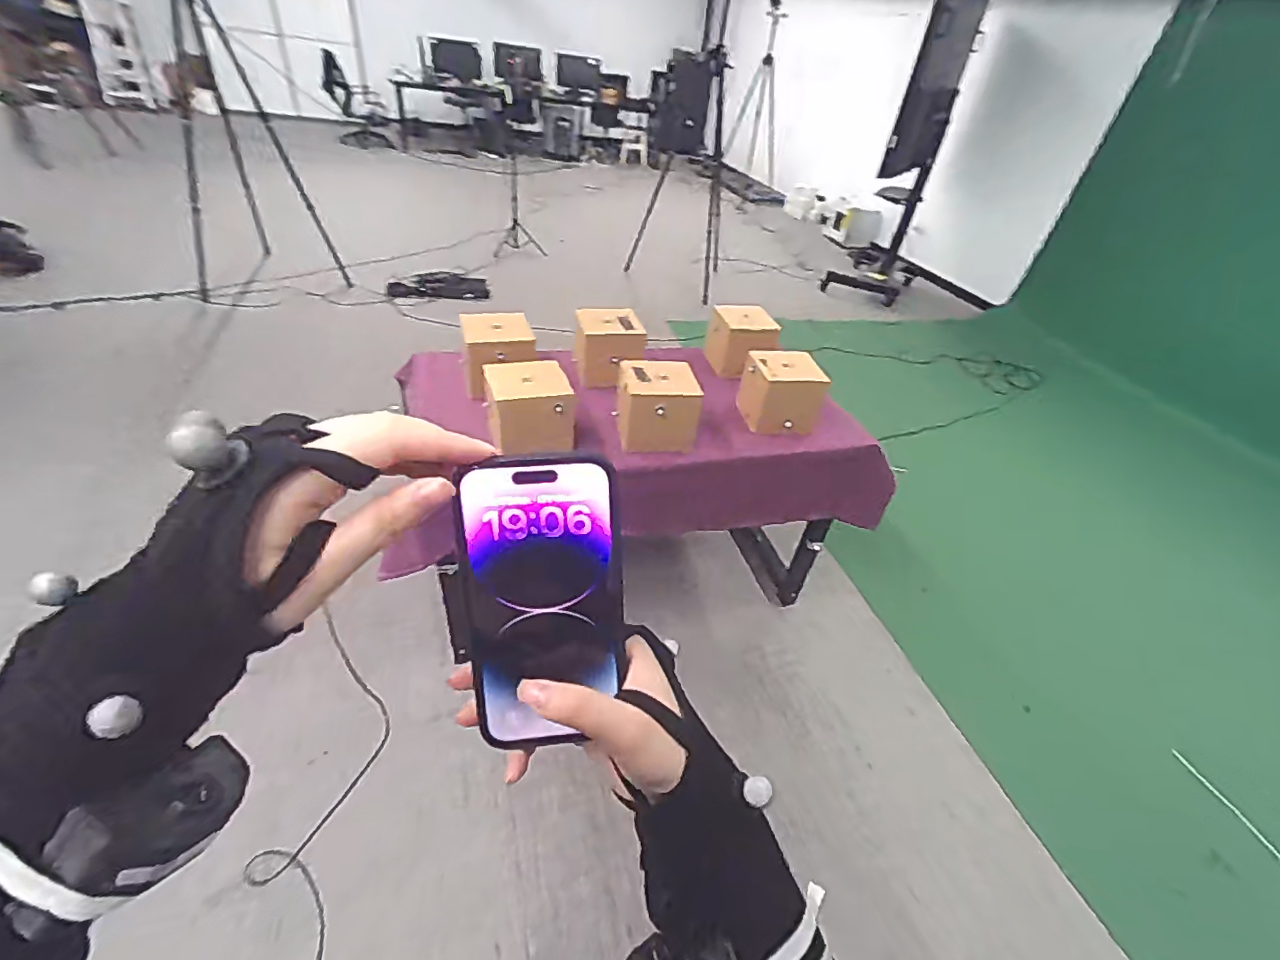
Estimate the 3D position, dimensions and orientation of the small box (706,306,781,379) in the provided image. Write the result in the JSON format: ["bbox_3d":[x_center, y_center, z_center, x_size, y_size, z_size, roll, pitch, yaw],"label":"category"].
[{"bbox_3d":[0.320,-0.437,1.720,0.168,0.176,0.179,-3,41,-13],"label":"small box"}]

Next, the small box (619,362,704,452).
[{"bbox_3d":[0.044,-0.183,1.361,0.179,0.176,0.168,0,40,-12],"label":"small box"}]

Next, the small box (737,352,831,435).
[{"bbox_3d":[0.389,-0.236,1.490,0.179,0.176,0.168,0,39,-11],"label":"small box"}]

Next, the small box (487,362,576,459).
[{"bbox_3d":[-0.259,-0.165,1.284,0.179,0.176,0.168,-8,42,-22],"label":"small box"}]
